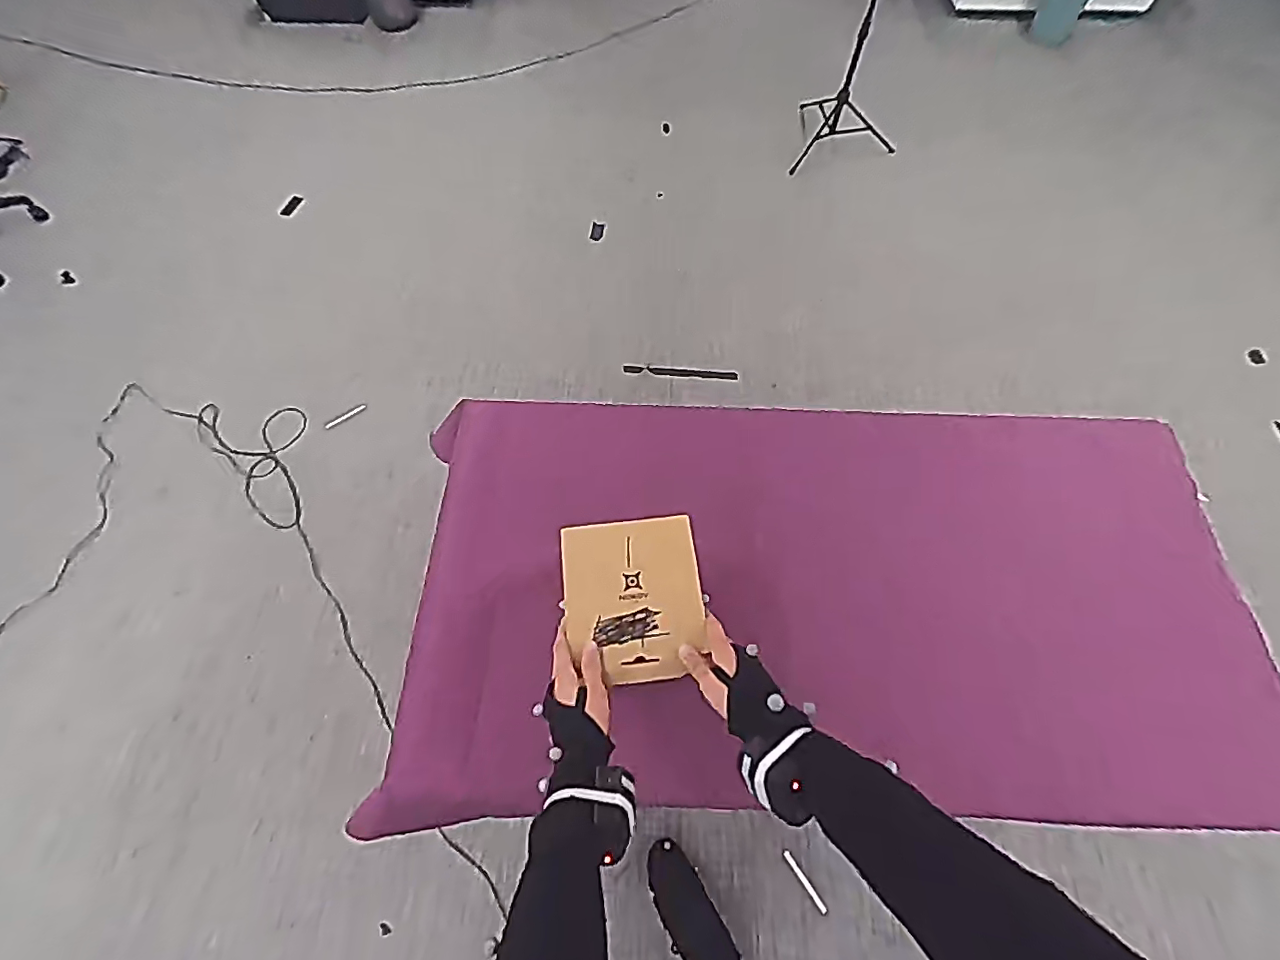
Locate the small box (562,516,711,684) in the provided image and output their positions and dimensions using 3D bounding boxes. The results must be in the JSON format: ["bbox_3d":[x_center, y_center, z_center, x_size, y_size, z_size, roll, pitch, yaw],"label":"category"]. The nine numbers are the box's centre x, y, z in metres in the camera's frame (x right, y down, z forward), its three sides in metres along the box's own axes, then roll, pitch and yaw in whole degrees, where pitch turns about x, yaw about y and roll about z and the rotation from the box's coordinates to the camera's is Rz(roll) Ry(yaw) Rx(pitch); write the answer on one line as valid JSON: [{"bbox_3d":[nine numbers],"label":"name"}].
[{"bbox_3d":[-0.007,0.165,0.710,0.168,0.176,0.179,-6,63,-3],"label":"small box"}]
